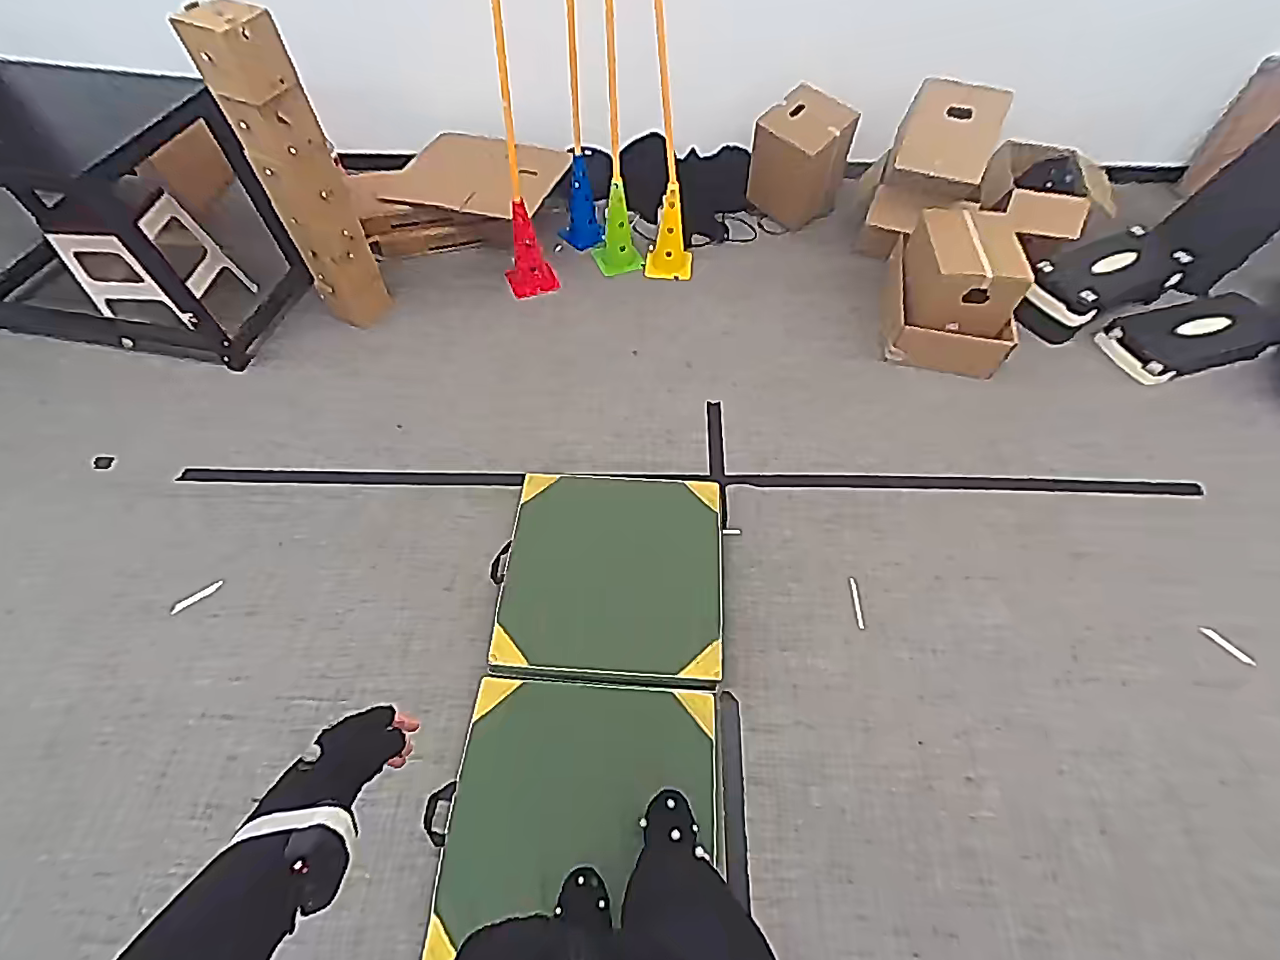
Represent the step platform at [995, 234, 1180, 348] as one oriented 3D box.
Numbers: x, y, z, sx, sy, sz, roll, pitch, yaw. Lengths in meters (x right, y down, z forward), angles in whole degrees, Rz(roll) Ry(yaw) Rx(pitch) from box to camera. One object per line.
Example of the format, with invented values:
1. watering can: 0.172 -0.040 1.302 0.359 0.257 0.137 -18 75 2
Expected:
1. step platform: 1.844 -0.789 2.230 0.684 0.204 0.286 -23 60 -15
